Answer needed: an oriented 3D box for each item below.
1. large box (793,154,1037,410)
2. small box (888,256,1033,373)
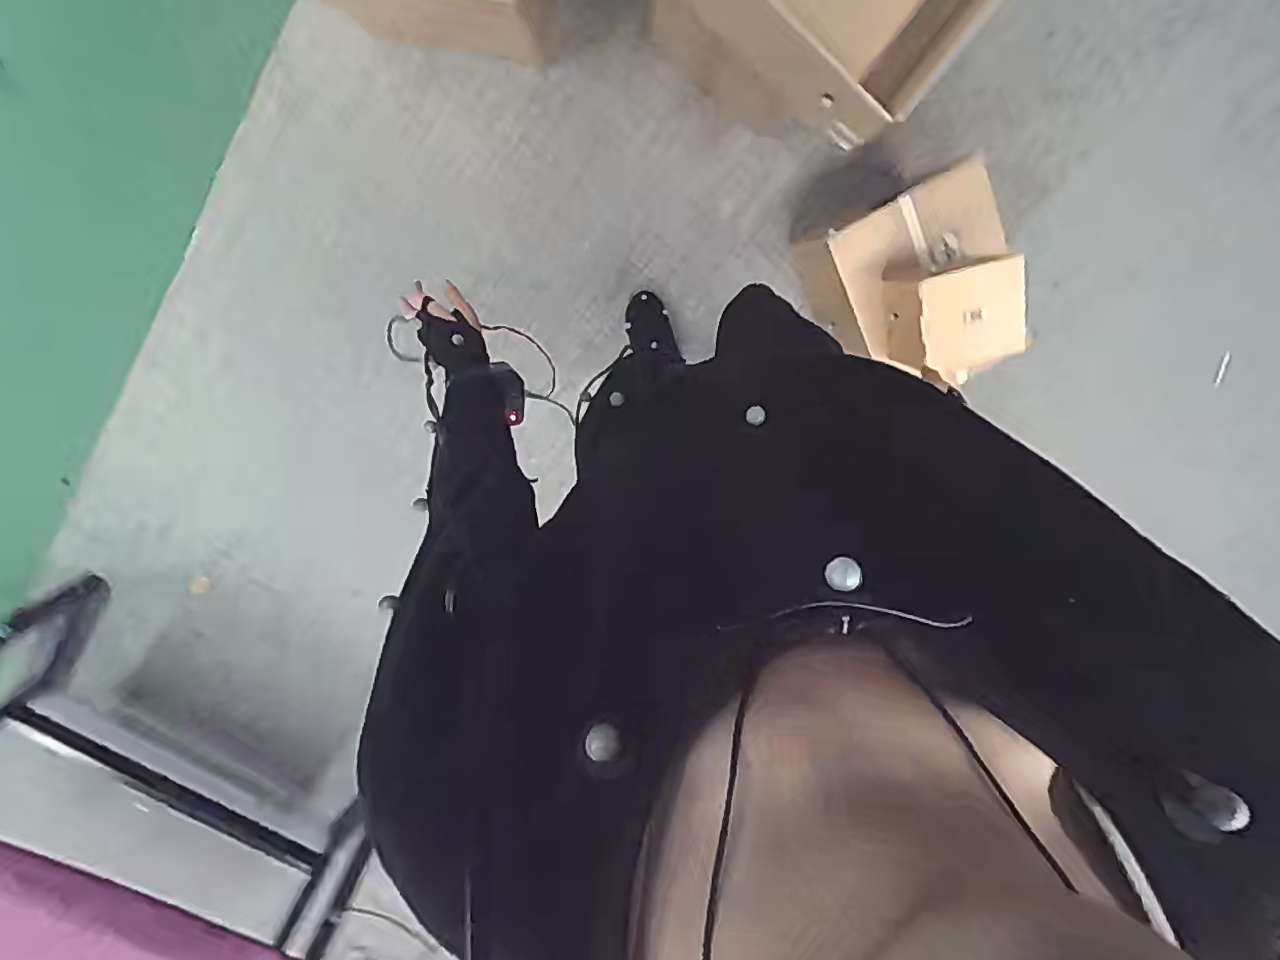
[{"bbox_3d":[0.596,-0.428,1.224,0.320,0.320,0.408,-27,107,9],"label":"large box"},{"bbox_3d":[0.588,-0.312,1.006,0.179,0.176,0.168,-13,111,7],"label":"small box"}]
